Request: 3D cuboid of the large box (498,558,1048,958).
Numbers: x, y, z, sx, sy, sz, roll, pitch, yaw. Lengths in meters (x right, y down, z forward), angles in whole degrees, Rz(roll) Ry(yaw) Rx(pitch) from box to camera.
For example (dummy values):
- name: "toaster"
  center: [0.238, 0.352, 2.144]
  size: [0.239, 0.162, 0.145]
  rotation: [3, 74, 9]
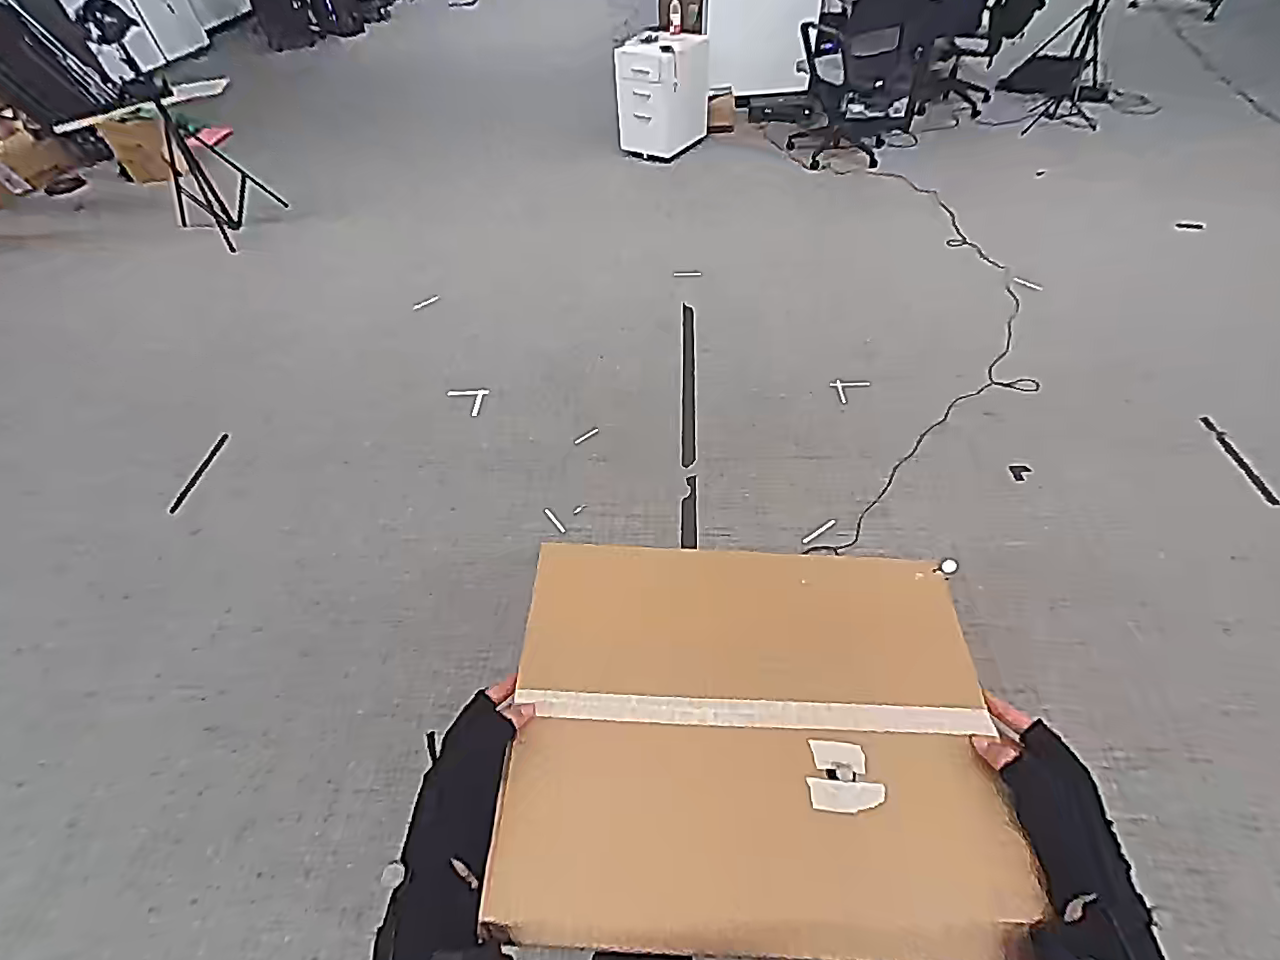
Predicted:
- name: "large box"
  center: [0.093, 0.298, 0.590]
  size: [0.408, 0.320, 0.320]
  rotation: [2, 54, 0]
